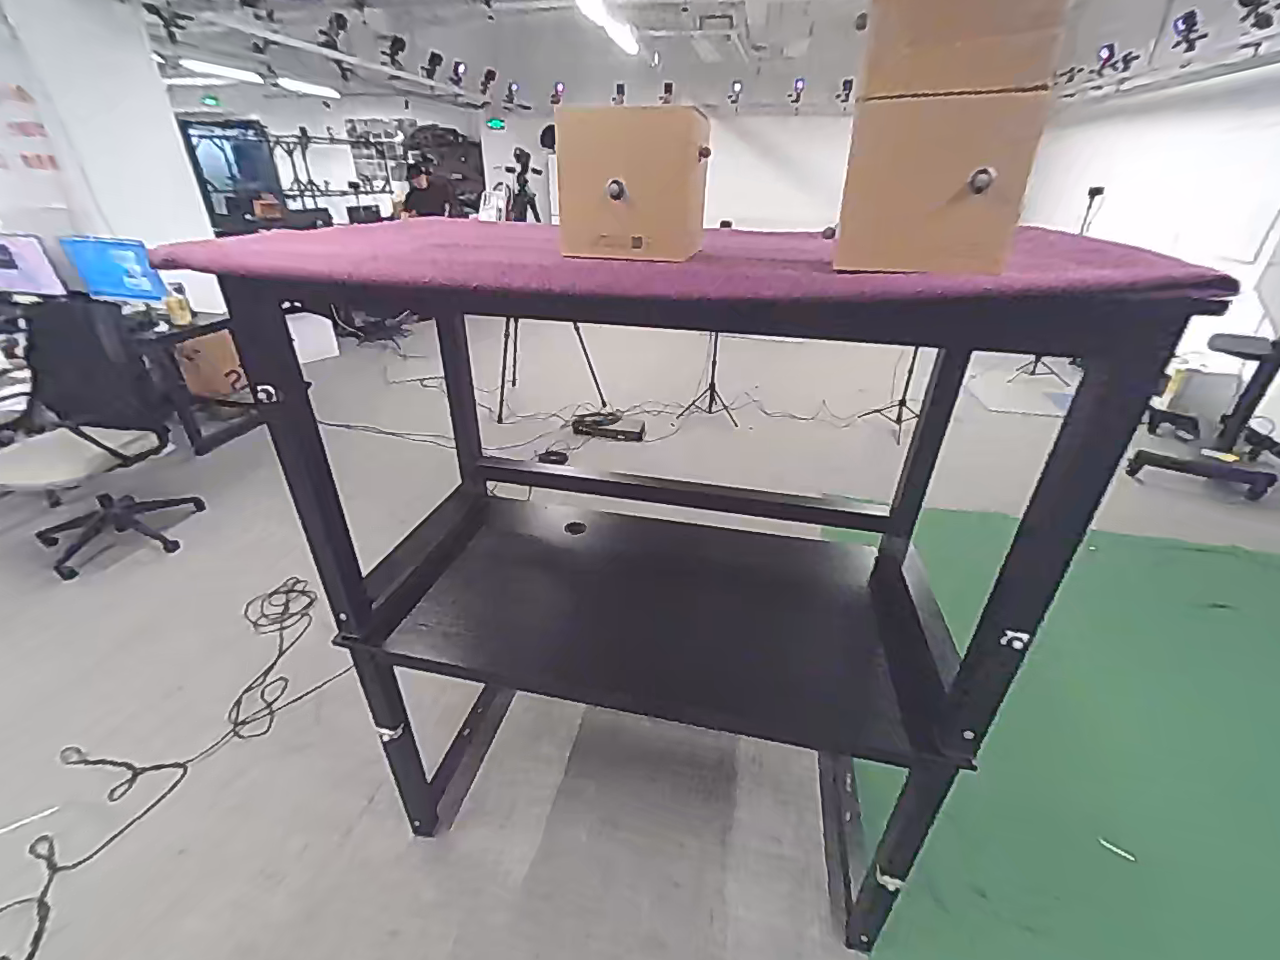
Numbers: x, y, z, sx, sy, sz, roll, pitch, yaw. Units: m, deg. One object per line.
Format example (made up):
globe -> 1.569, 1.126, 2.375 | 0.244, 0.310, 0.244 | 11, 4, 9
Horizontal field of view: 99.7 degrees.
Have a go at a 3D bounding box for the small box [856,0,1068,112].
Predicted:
small box -> 0.333, -0.479, 0.572 | 0.179, 0.176, 0.168 | 10, 27, 18

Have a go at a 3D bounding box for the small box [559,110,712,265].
small box -> 0.000, -0.392, 0.735 | 0.168, 0.176, 0.179 | 8, 29, 10

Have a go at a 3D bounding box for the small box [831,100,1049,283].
small box -> 0.331, -0.330, 0.638 | 0.179, 0.176, 0.168 | 8, 26, 16
